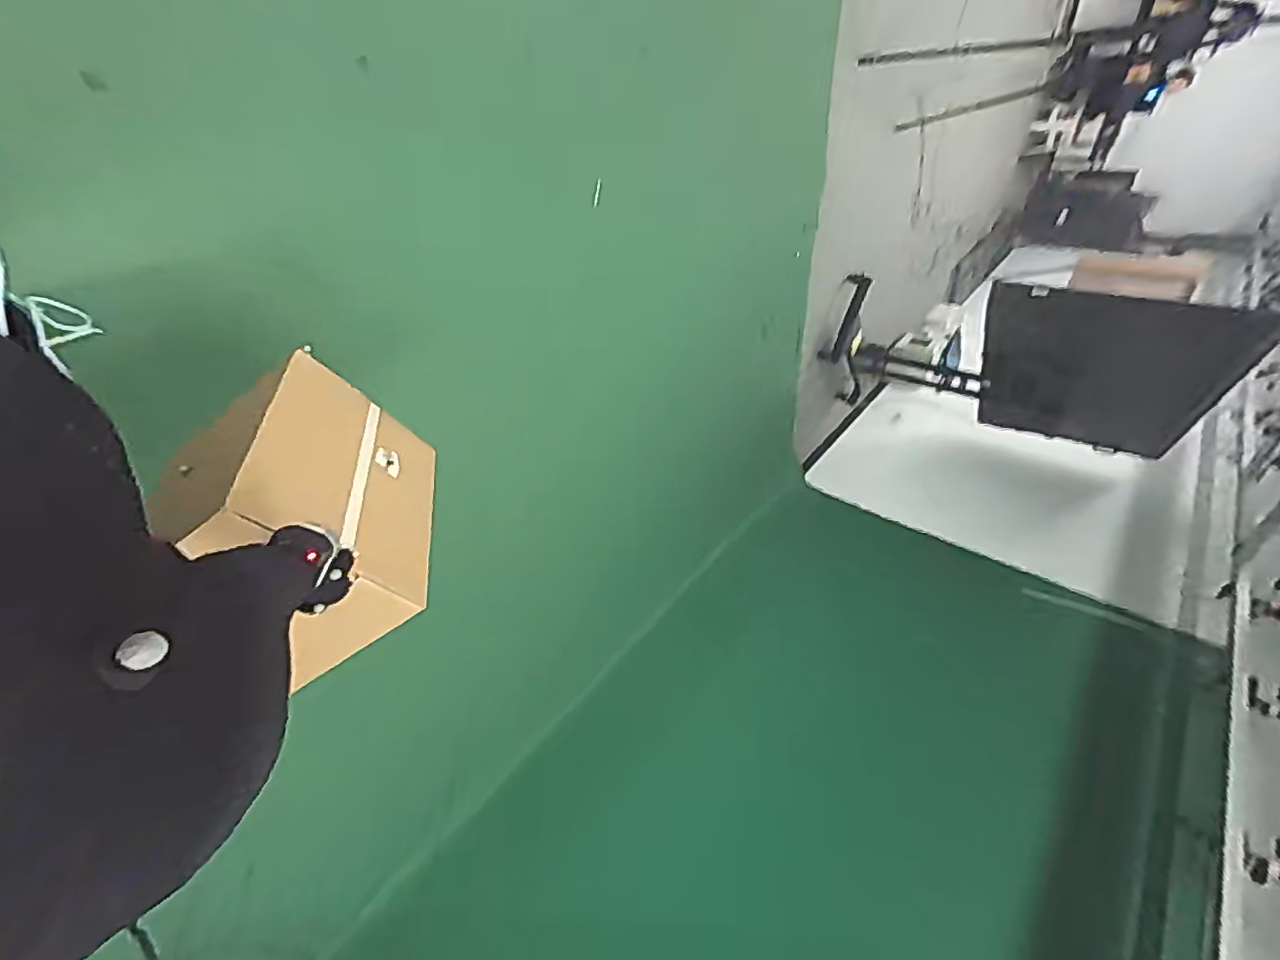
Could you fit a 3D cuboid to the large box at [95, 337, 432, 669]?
[{"bbox_3d":[-0.587,0.042,0.928,0.320,0.408,0.320,-33,133,11],"label":"large box"}]
